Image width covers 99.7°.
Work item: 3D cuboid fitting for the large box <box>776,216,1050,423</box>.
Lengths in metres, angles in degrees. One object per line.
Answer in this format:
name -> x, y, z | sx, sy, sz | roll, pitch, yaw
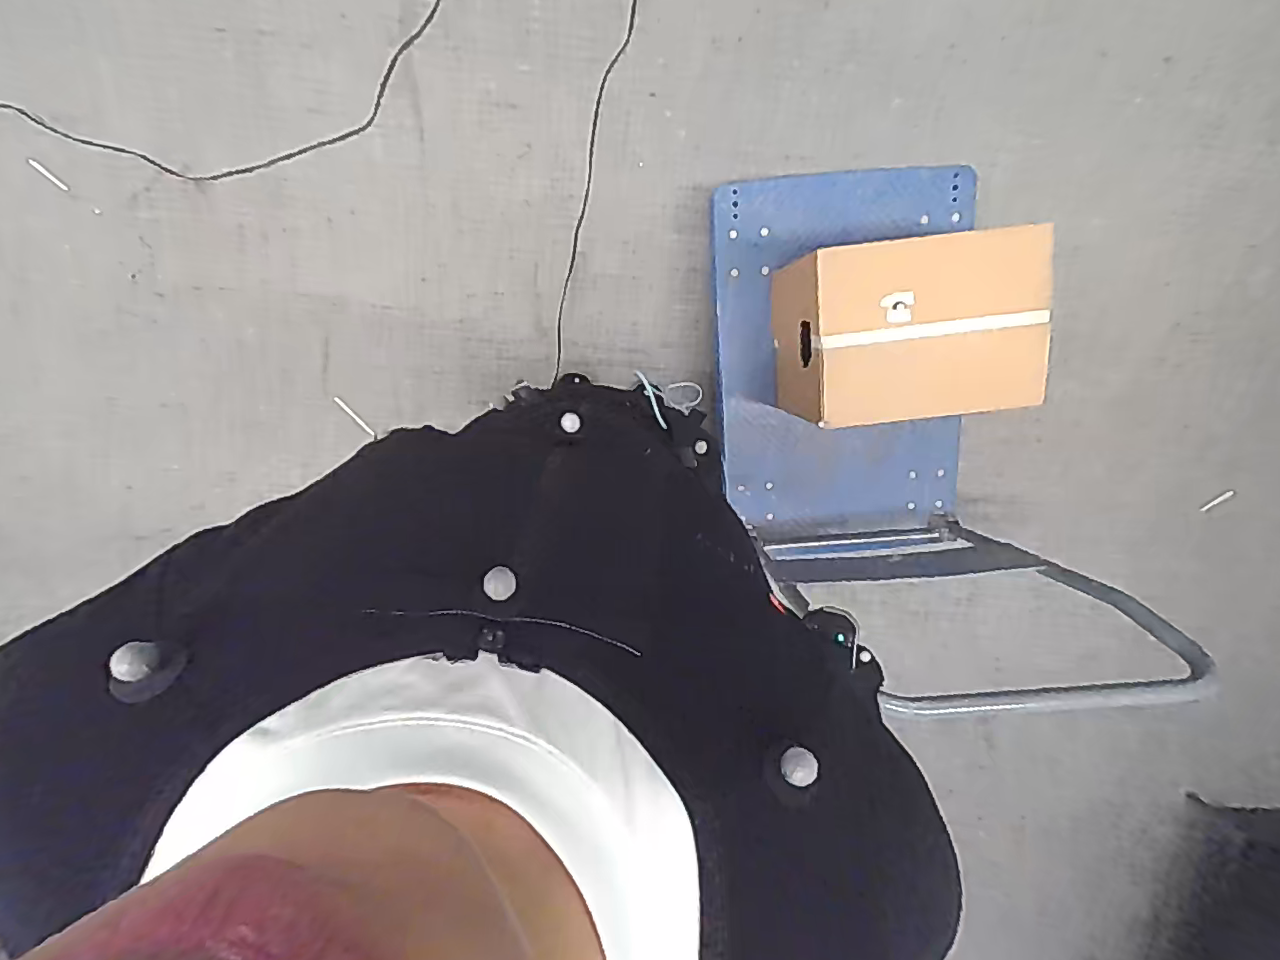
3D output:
large box -> 0.517, -0.313, 1.099 | 0.408, 0.320, 0.320 | -7, 103, 2
